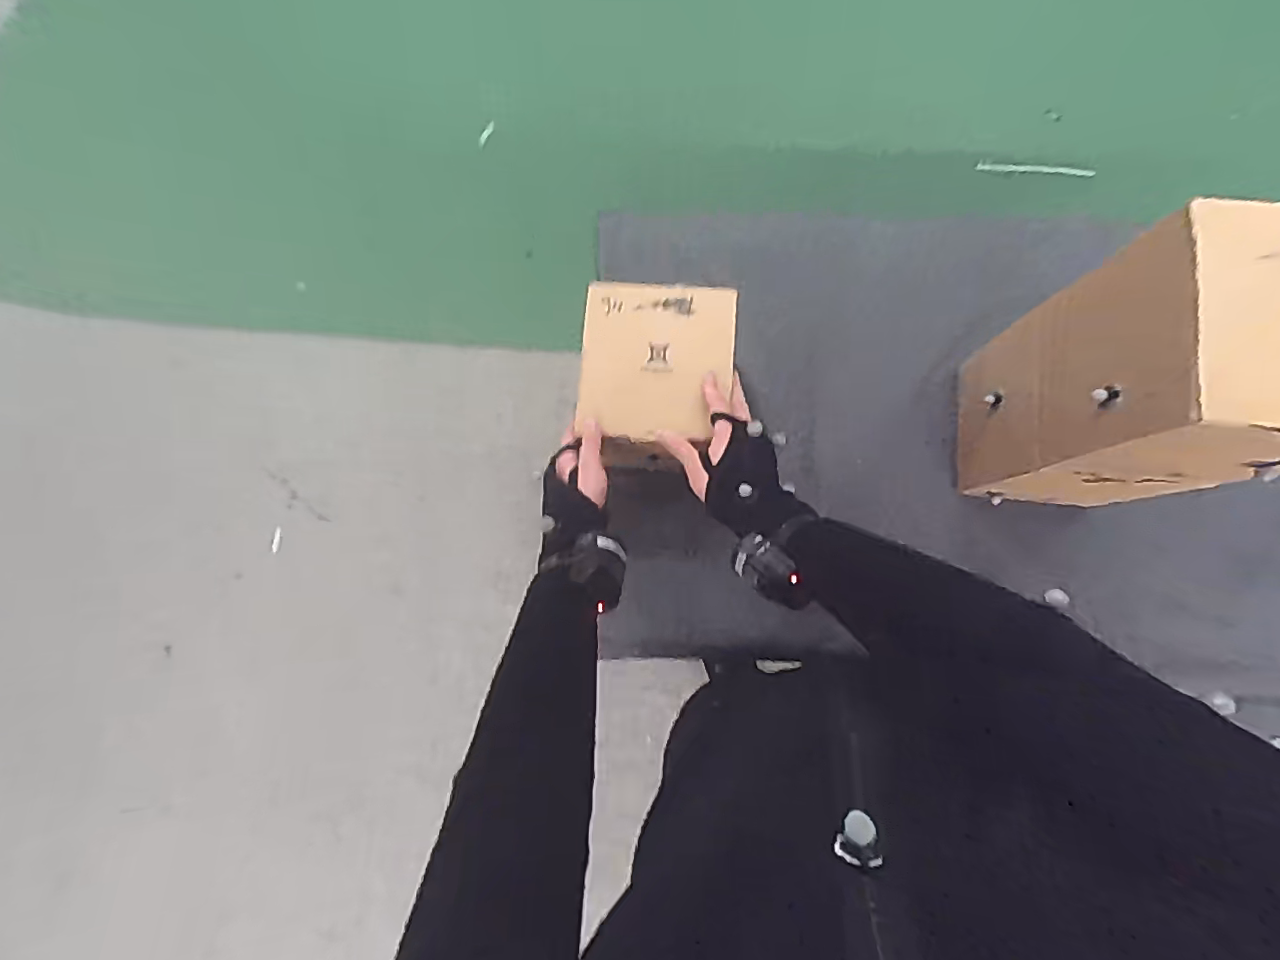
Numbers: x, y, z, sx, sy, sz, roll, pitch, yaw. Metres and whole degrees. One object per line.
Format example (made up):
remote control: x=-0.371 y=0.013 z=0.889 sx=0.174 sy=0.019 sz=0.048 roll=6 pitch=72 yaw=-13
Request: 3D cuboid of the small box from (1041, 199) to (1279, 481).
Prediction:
small box: x=0.476 y=-0.100 z=0.455 sx=0.168 sy=0.176 sz=0.179 roll=5 pitch=80 yaw=4

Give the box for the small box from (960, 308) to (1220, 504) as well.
small box: x=0.489 y=-0.072 z=0.614 sx=0.168 sy=0.176 sz=0.179 roll=5 pitch=80 yaw=5

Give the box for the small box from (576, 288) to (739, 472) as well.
small box: x=0.024 y=-0.108 z=0.654 sx=0.168 sy=0.176 sz=0.179 roll=4 pitch=82 yaw=3
